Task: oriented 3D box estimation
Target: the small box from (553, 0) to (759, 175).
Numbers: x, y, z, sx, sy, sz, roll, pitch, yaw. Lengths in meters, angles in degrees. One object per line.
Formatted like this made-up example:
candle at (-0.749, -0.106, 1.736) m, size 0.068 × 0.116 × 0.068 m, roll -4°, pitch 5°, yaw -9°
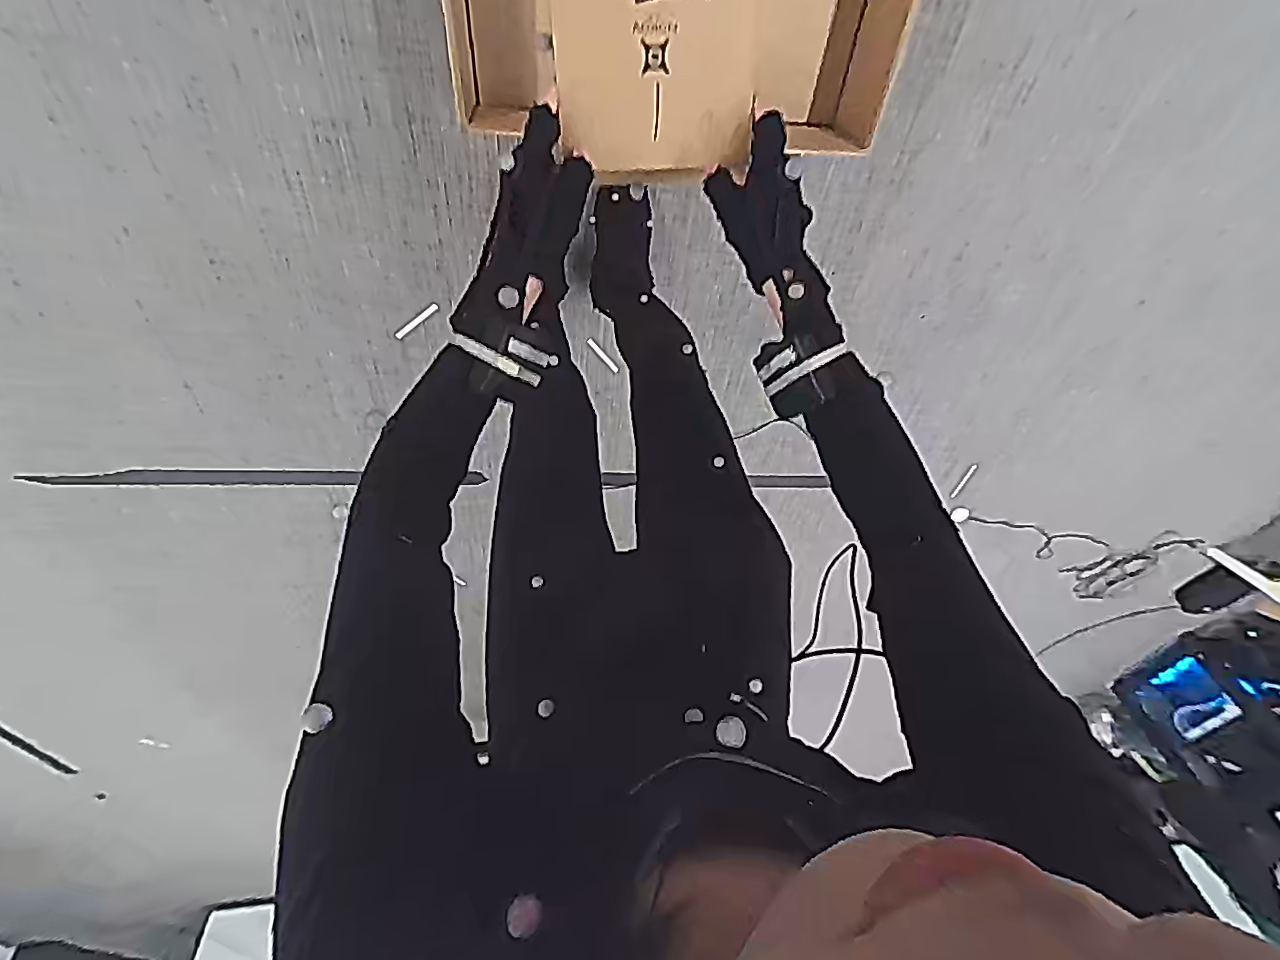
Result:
small box at (0.005, -0.394, 0.506) m, size 0.168 × 0.176 × 0.179 m, roll -4°, pitch 116°, yaw -5°

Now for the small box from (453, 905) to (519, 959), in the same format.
small box at (-0.461, 1.406, 1.628) m, size 0.179 × 0.176 × 0.168 m, roll -4°, pitch 134°, yaw -7°
